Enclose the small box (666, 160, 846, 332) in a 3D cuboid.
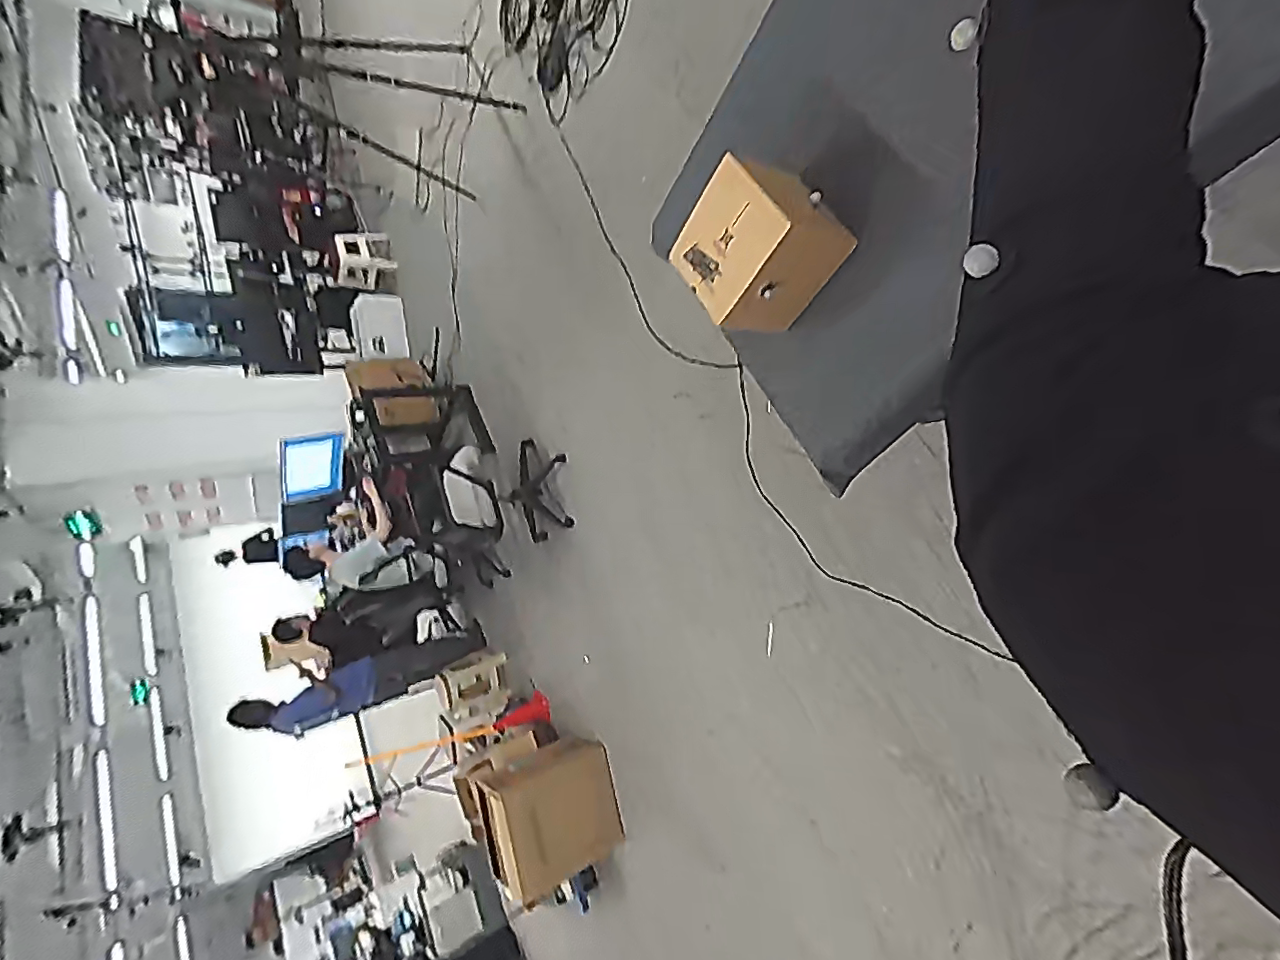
[{"bbox_3d":[0.177,-0.346,0.837,0.179,0.176,0.168,-52,59,42],"label":"small box"}]
